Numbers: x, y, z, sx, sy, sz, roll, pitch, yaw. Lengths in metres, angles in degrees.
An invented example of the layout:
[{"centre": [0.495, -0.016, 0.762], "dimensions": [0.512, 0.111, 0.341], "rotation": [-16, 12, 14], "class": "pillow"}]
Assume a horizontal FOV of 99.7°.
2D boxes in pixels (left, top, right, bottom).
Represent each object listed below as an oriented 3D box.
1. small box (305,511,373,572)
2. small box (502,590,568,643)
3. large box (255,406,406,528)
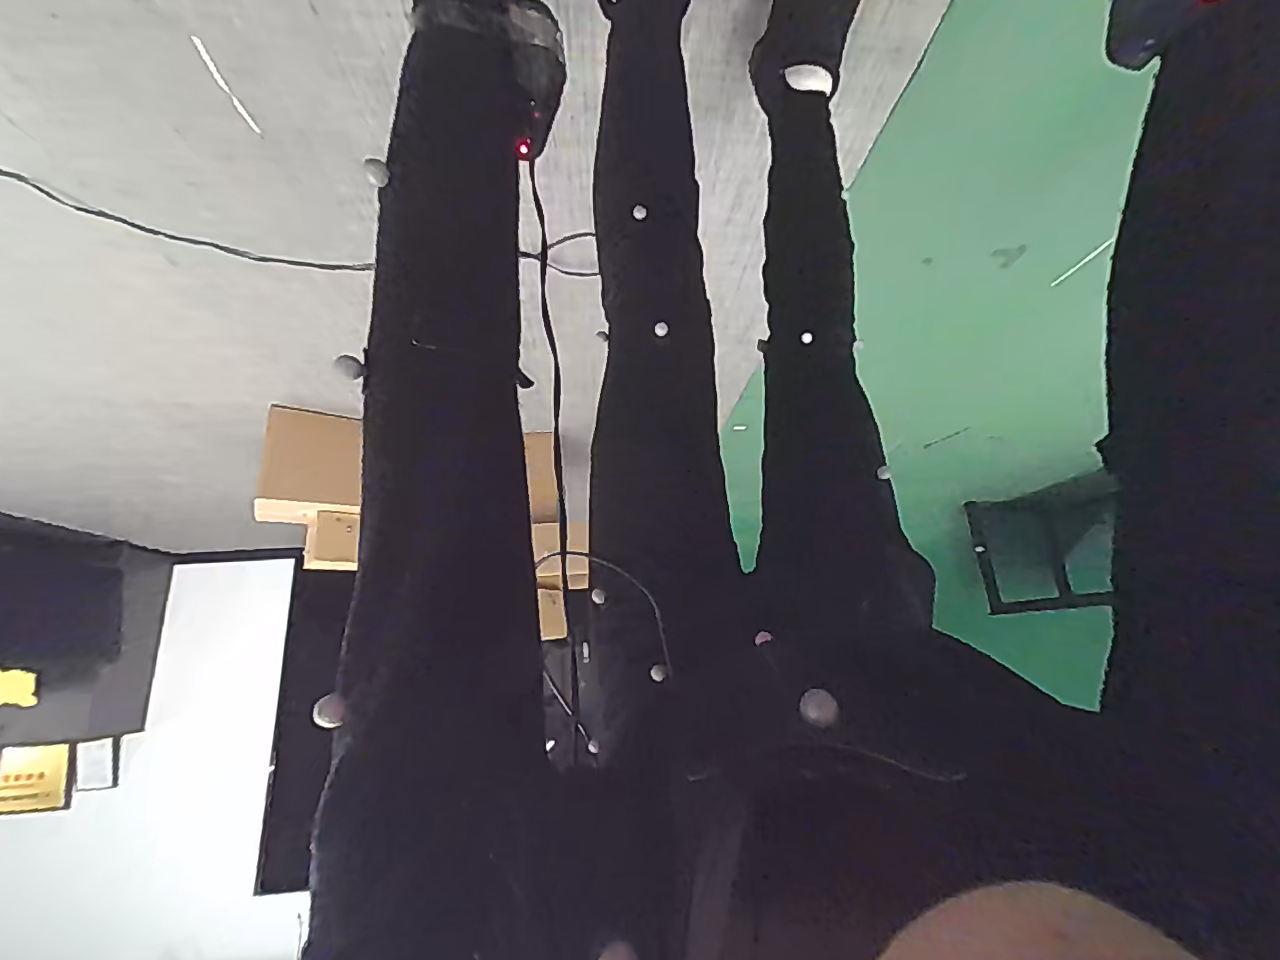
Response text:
[{"centre": [-1.017, 0.212, 1.830], "dimensions": [0.168, 0.176, 0.179], "rotation": [10, 159, -37], "class": "small box"}, {"centre": [-0.375, 0.493, 1.942], "dimensions": [0.179, 0.176, 0.168], "rotation": [-12, 161, 23], "class": "small box"}, {"centre": [-1.062, -0.029, 1.873], "dimensions": [0.408, 0.320, 0.320], "rotation": [10, 158, -32], "class": "large box"}]
